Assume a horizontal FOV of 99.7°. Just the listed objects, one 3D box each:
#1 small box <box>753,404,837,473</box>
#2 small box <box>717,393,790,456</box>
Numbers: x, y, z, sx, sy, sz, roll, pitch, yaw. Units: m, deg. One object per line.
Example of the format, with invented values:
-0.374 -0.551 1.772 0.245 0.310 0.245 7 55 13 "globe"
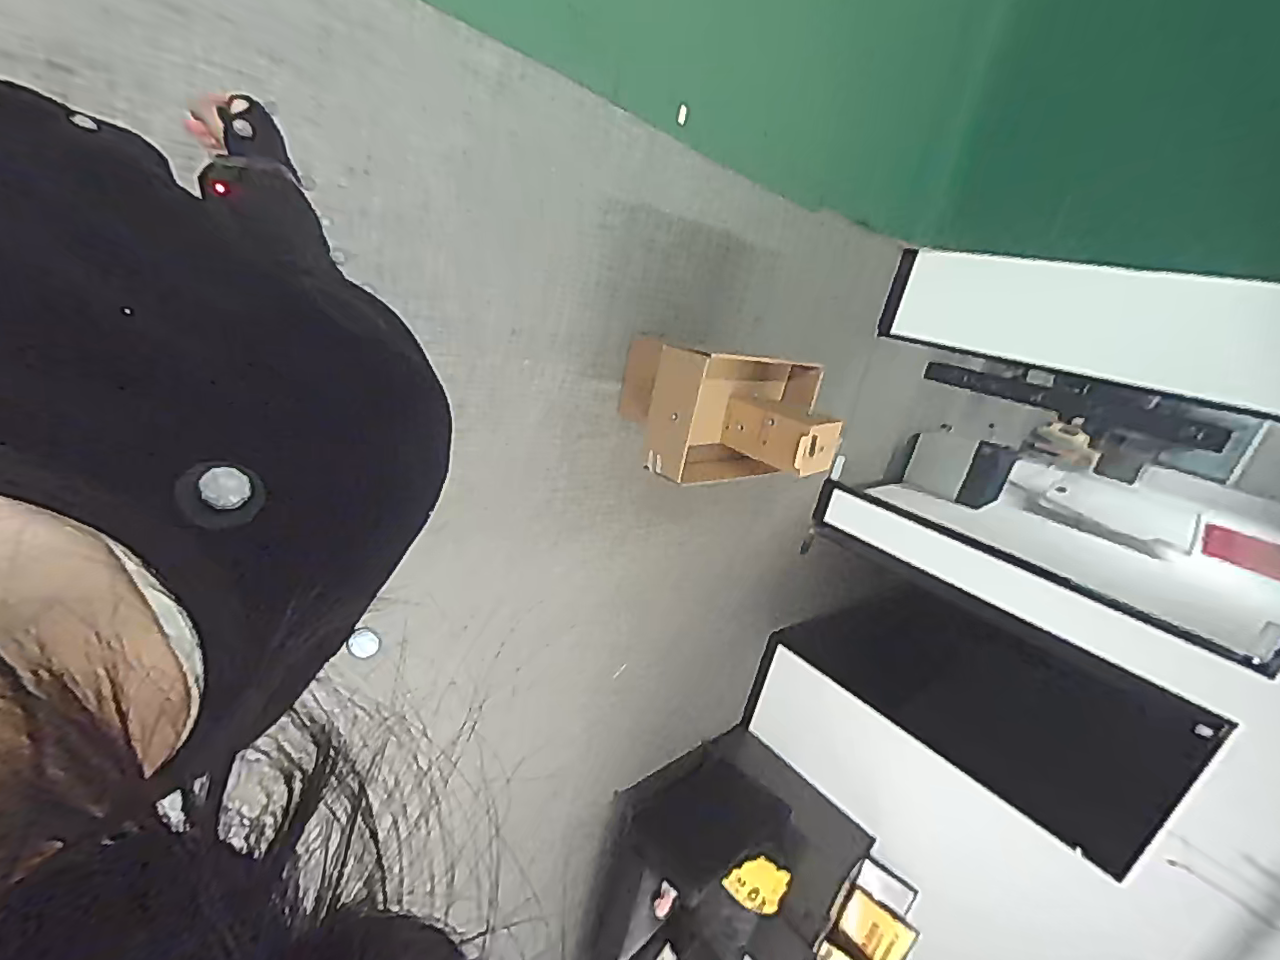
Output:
0.486 -0.135 1.713 0.179 0.176 0.168 -12 120 -39 "small box"
0.387 -0.192 1.831 0.179 0.176 0.168 -9 119 -38 "small box"
